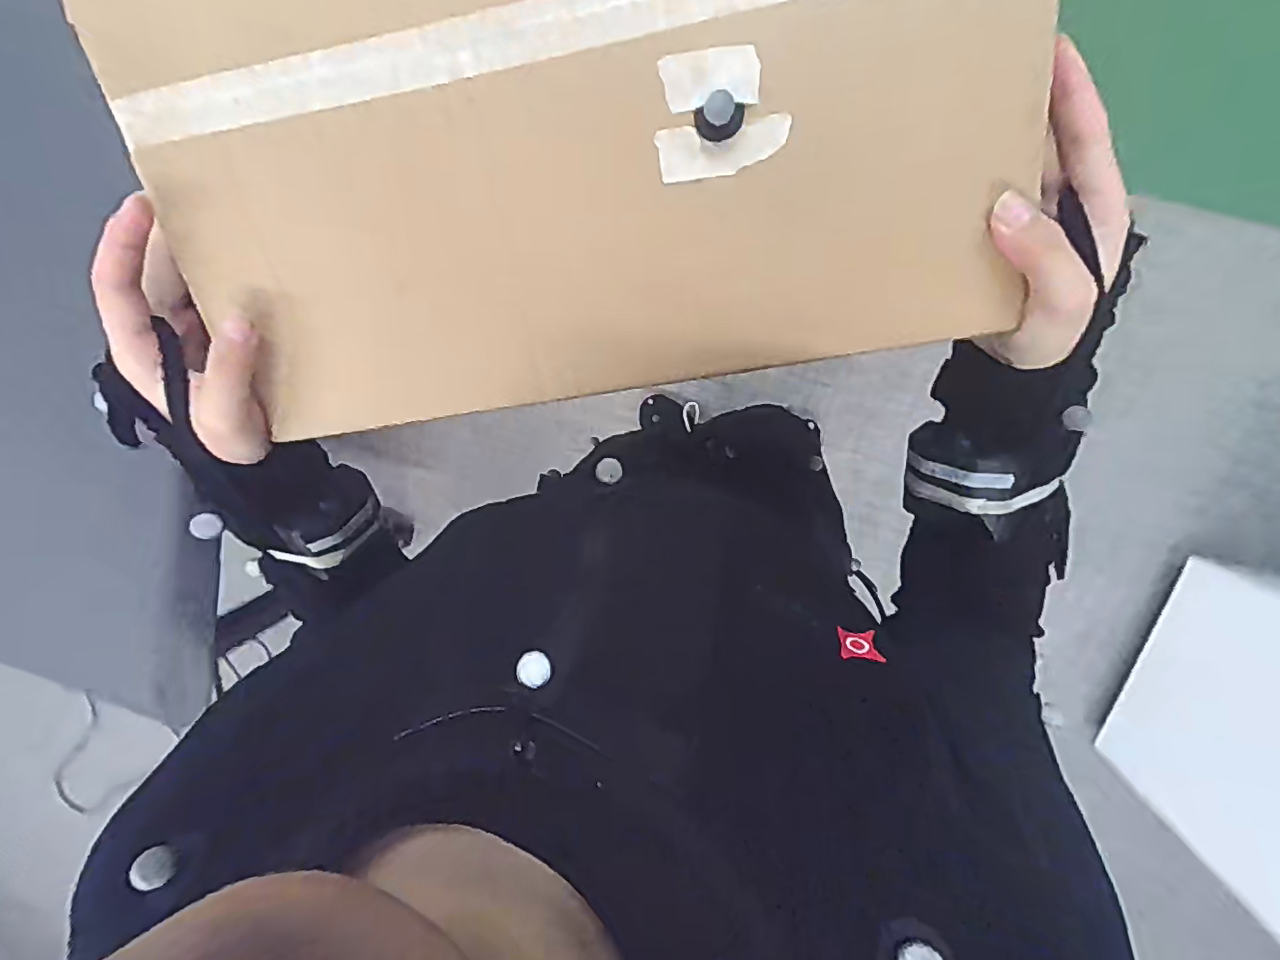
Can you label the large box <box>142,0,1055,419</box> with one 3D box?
[{"bbox_3d":[-0.019,-0.253,0.379,0.408,0.320,0.320,-8,110,5],"label":"large box"}]
